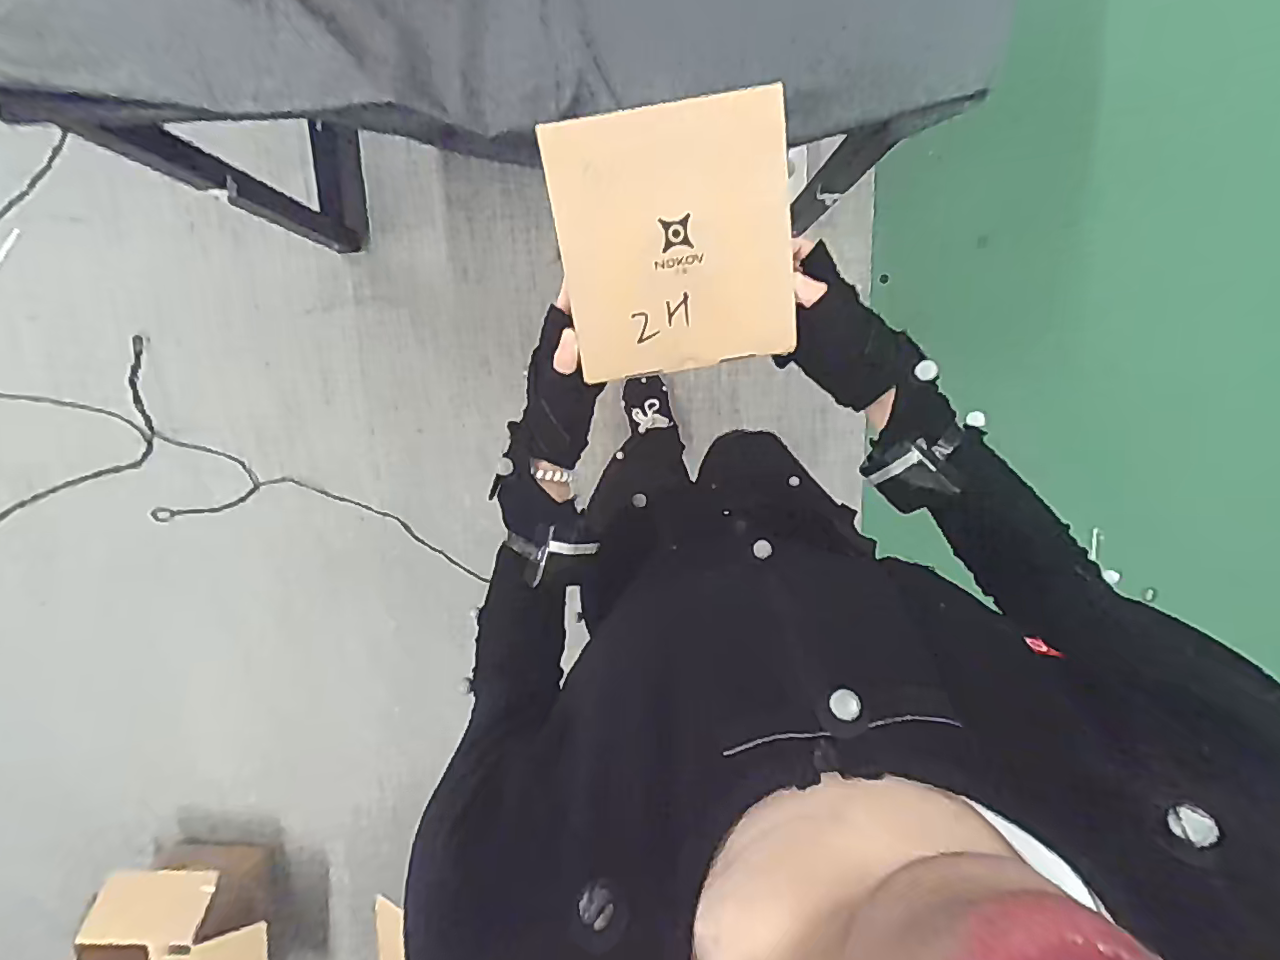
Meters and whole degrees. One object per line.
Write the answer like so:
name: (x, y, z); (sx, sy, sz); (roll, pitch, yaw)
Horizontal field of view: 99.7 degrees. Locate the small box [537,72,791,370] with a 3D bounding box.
small box: (0.019, -0.201, 0.455); (0.168, 0.176, 0.179); (-8, 111, 1)
